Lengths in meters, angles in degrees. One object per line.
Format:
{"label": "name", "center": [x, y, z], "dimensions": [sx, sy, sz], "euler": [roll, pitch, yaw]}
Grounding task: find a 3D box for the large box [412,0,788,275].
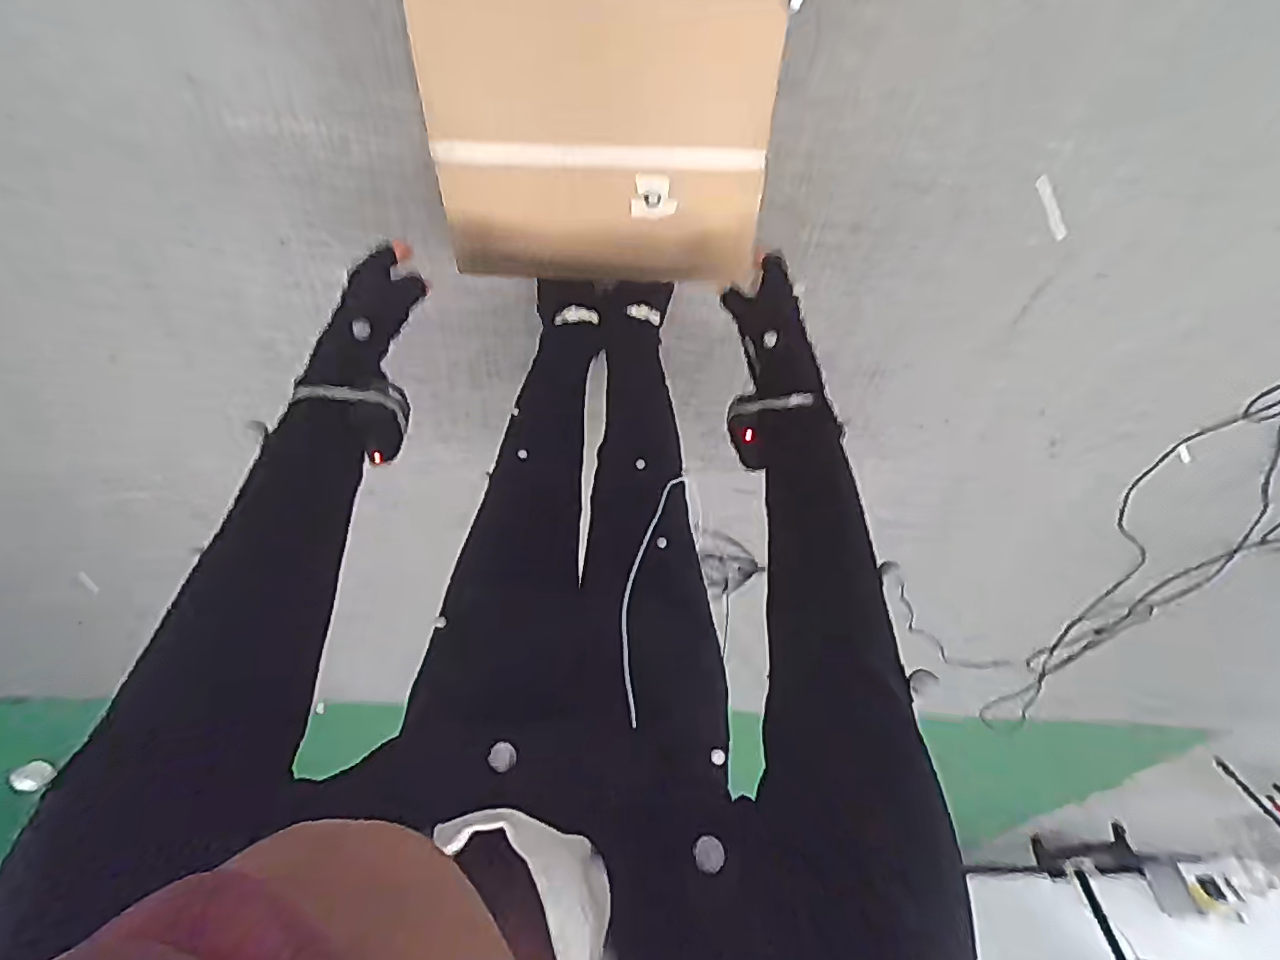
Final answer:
{"label": "large box", "center": [-0.046, -0.503, 0.769], "dimensions": [0.408, 0.320, 0.320], "euler": [1, 133, -1]}
